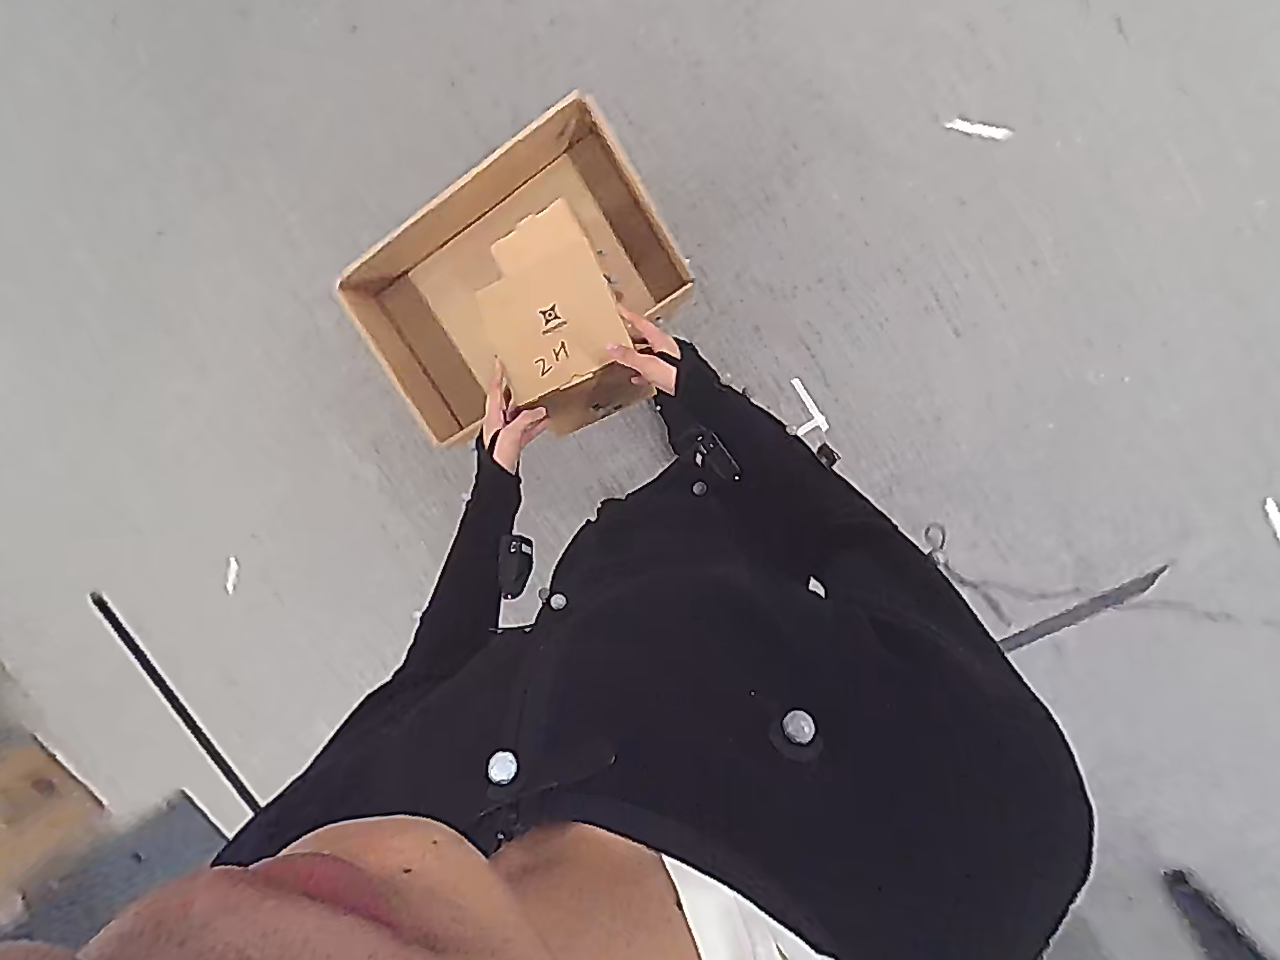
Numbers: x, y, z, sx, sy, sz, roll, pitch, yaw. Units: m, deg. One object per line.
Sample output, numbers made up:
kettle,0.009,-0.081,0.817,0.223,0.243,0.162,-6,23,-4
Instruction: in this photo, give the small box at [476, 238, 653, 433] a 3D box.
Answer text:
small box,-0.096,-0.188,0.754,0.168,0.176,0.179,-24,79,6
